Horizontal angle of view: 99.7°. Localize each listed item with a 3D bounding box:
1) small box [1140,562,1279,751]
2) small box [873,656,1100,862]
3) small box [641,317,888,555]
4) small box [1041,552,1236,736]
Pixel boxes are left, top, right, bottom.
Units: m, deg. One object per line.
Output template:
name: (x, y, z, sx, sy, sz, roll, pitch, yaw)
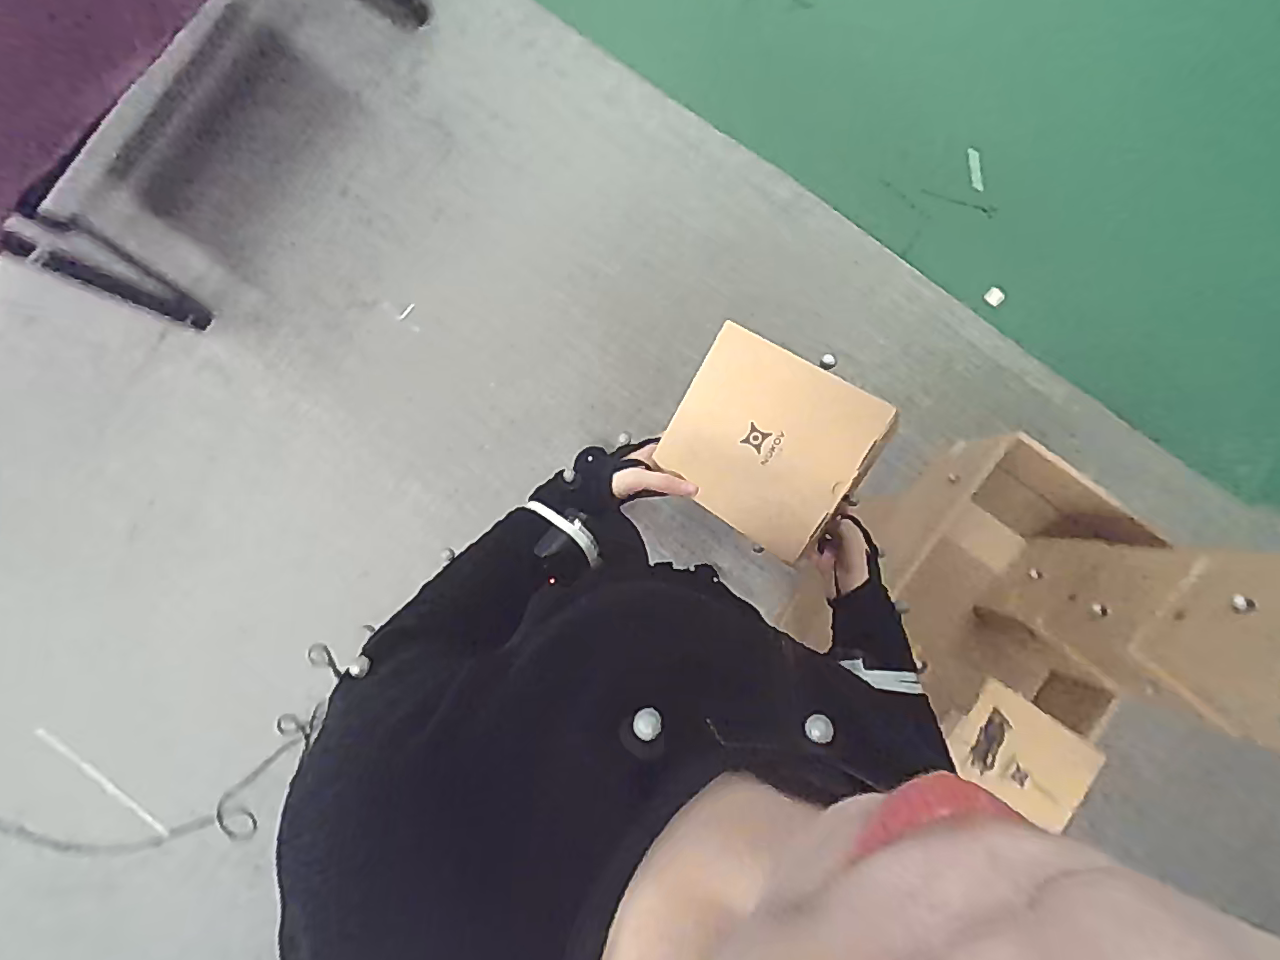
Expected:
small box: (0.745, 0.207, 0.611, 0.179, 0.176, 0.168, 42, 90, 3)
small box: (0.470, 0.372, 0.765, 0.179, 0.176, 0.168, 35, 87, 2)
small box: (0.136, -0.045, 0.574, 0.179, 0.176, 0.168, 33, 105, 19)
small box: (0.740, 0.218, 0.775, 0.179, 0.176, 0.168, 40, 89, 2)
